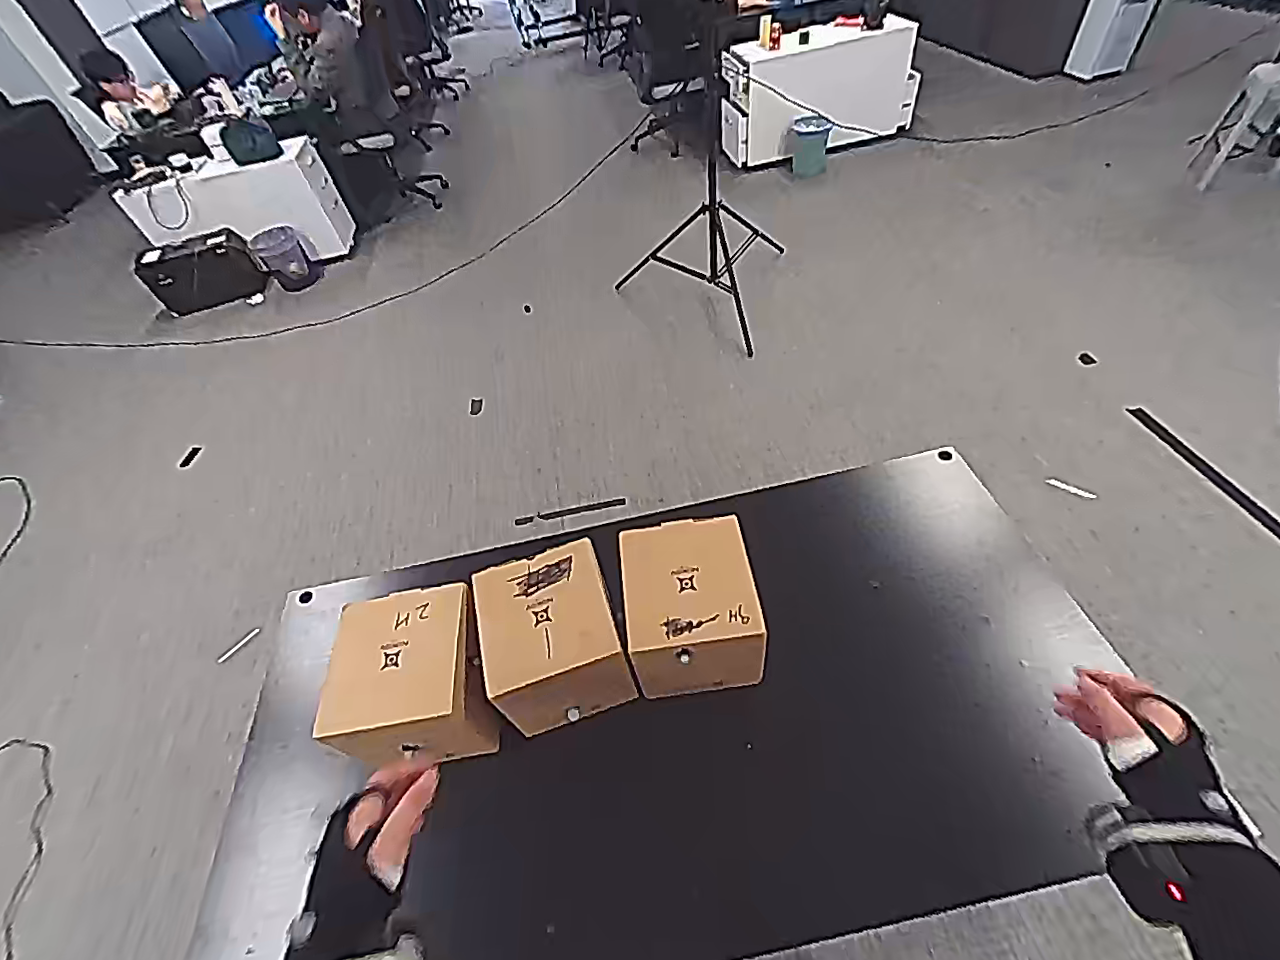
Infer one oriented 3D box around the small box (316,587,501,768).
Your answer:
[{"bbox_3d":[-0.295,0.274,0.734,0.168,0.176,0.179,-10,48,0],"label":"small box"}]
